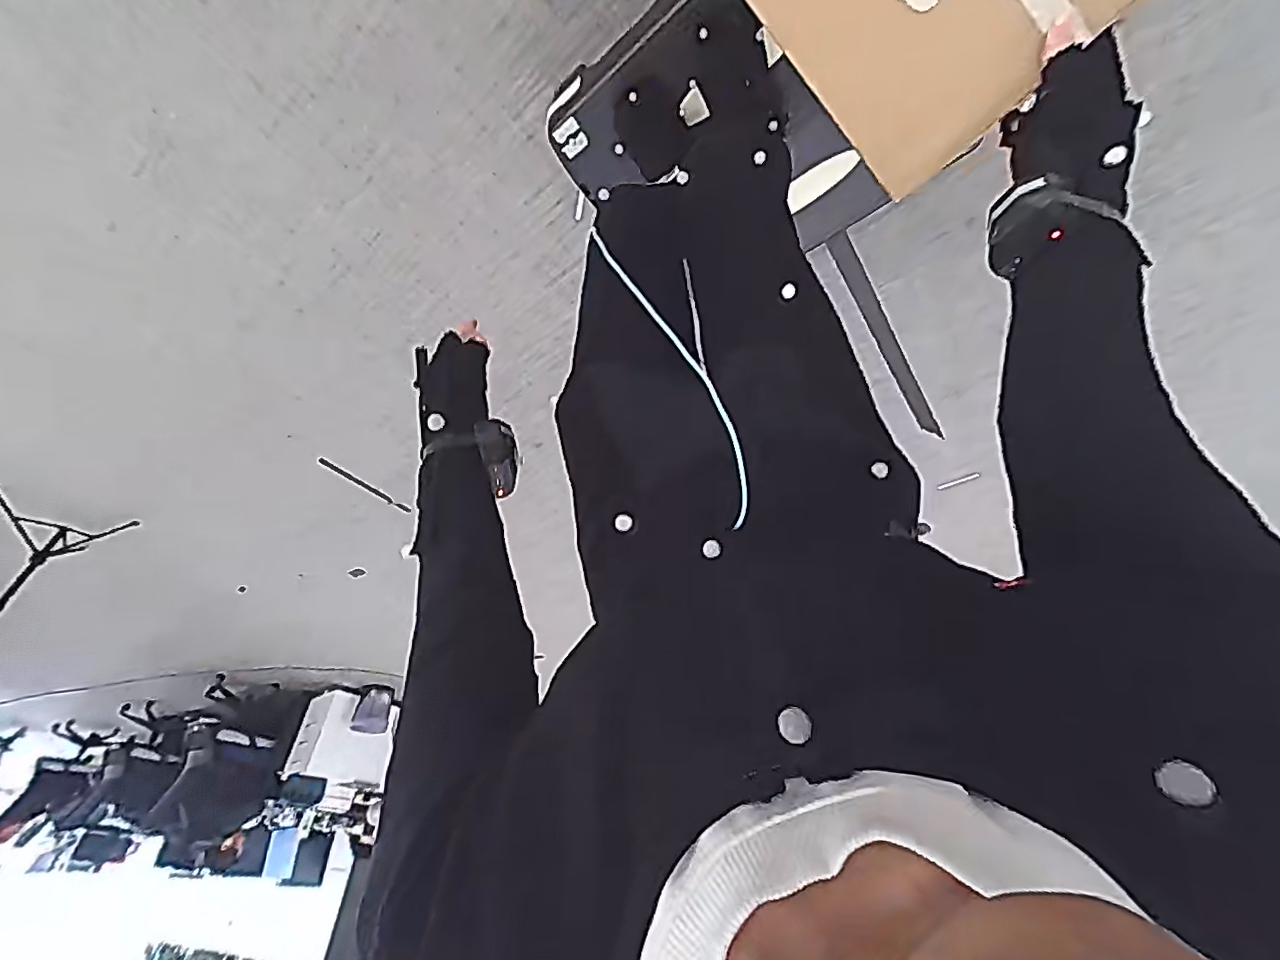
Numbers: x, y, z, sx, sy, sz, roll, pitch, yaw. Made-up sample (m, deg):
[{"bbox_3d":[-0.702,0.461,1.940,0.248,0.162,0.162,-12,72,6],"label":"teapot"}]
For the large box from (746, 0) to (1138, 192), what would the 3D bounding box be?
[{"bbox_3d":[0.290,-0.572,0.538,0.408,0.320,0.320,50,130,-6],"label":"large box"}]

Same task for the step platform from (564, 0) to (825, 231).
[{"bbox_3d":[0.186,-0.760,0.938,0.684,0.204,0.286,-27,133,30],"label":"step platform"}]
